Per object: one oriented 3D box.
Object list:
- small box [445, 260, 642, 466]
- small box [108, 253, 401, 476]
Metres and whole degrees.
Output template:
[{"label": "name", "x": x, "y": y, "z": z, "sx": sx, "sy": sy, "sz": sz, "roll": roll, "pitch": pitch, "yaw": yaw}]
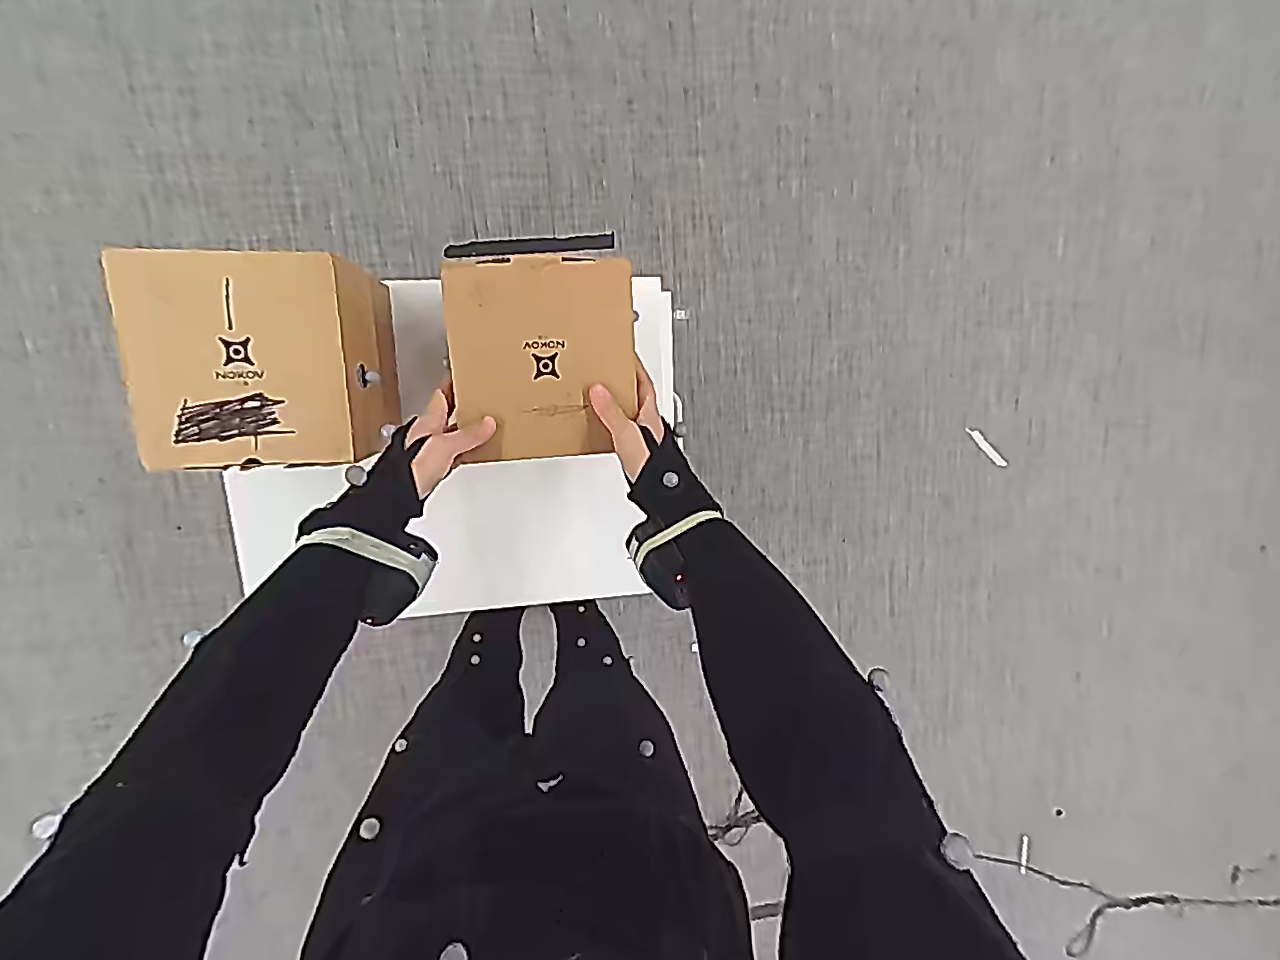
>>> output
[{"label": "small box", "x": -0.095, "y": -0.118, "z": 0.561, "sx": 0.168, "sy": 0.176, "sz": 0.179, "roll": -5, "pitch": 102, "yaw": -7}, {"label": "small box", "x": -0.340, "y": -0.106, "z": 0.519, "sx": 0.168, "sy": 0.176, "sz": 0.179, "roll": -3, "pitch": 100, "yaw": -10}]
